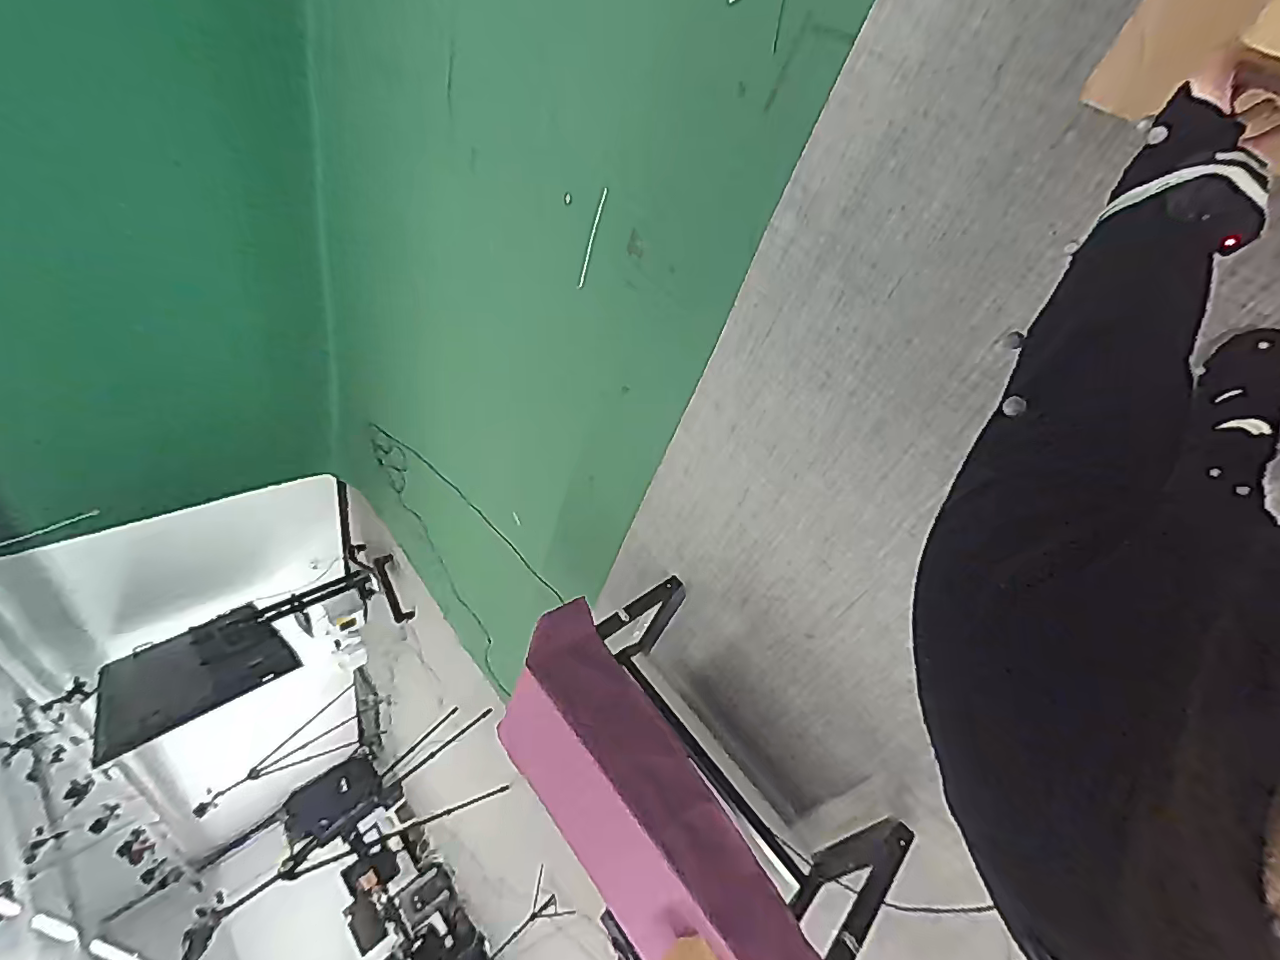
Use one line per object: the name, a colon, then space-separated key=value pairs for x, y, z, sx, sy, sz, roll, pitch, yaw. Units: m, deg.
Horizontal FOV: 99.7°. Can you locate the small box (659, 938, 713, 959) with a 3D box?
small box: x=0.119 y=1.351 z=1.420 sx=0.168 sy=0.176 sz=0.179 roll=49 pitch=137 yaw=21

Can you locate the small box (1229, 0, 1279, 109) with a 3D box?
small box: x=0.558 y=-0.331 z=0.355 sx=0.179 sy=0.176 sz=0.168 roll=47 pitch=137 yaw=23
